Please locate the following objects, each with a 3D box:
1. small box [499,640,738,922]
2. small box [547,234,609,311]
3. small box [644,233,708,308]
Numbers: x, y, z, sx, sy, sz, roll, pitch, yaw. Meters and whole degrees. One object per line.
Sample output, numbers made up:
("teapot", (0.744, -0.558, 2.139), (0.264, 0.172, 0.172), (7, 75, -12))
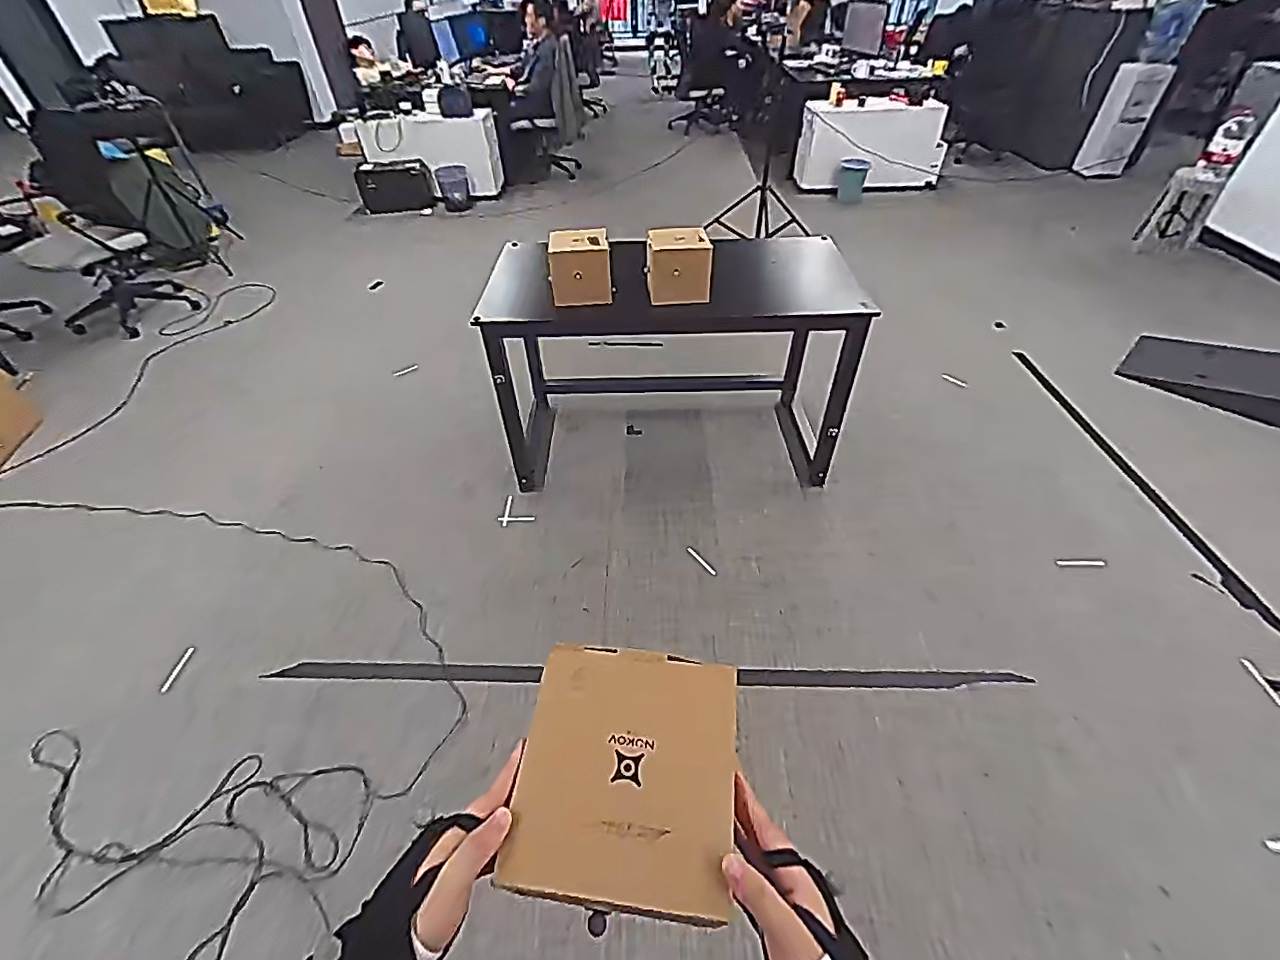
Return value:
("small box", (-0.009, 0.268, 0.481), (0.168, 0.176, 0.179), (6, 50, 5))
("small box", (-0.186, -0.638, 1.665), (0.179, 0.176, 0.168), (-5, 43, -2))
("small box", (0.109, -0.640, 1.658), (0.179, 0.176, 0.168), (-5, 43, -2))
